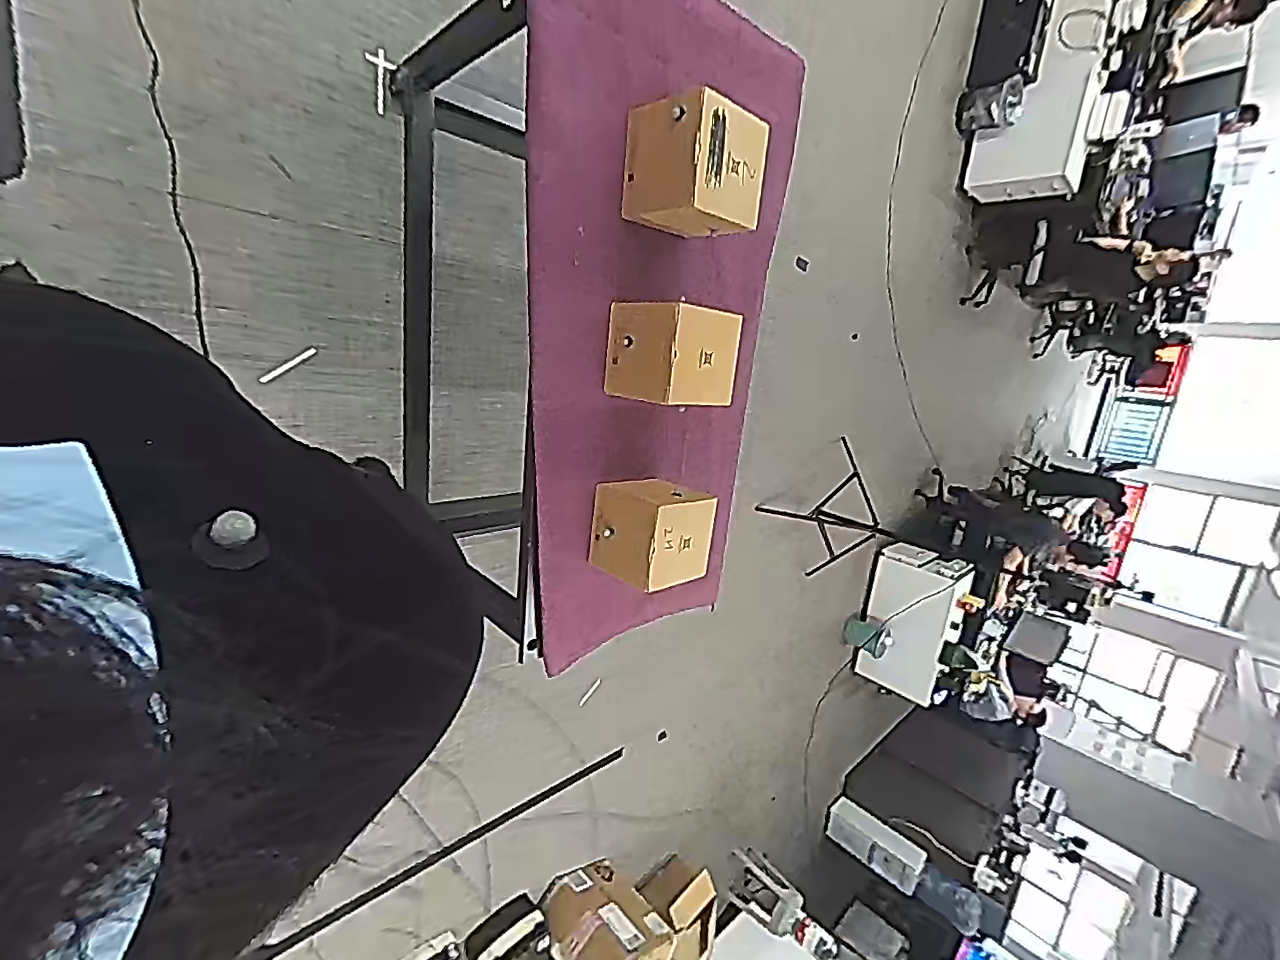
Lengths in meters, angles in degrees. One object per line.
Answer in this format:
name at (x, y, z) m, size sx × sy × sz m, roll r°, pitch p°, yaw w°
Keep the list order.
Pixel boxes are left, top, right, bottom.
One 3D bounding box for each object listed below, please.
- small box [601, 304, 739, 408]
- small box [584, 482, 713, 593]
small box at (0.053, -0.229, 0.996) m, size 0.179 × 0.176 × 0.168 m, roll -6°, pitch 108°, yaw -44°
small box at (0.016, 0.102, 1.068) m, size 0.179 × 0.176 × 0.168 m, roll -4°, pitch 106°, yaw -45°
